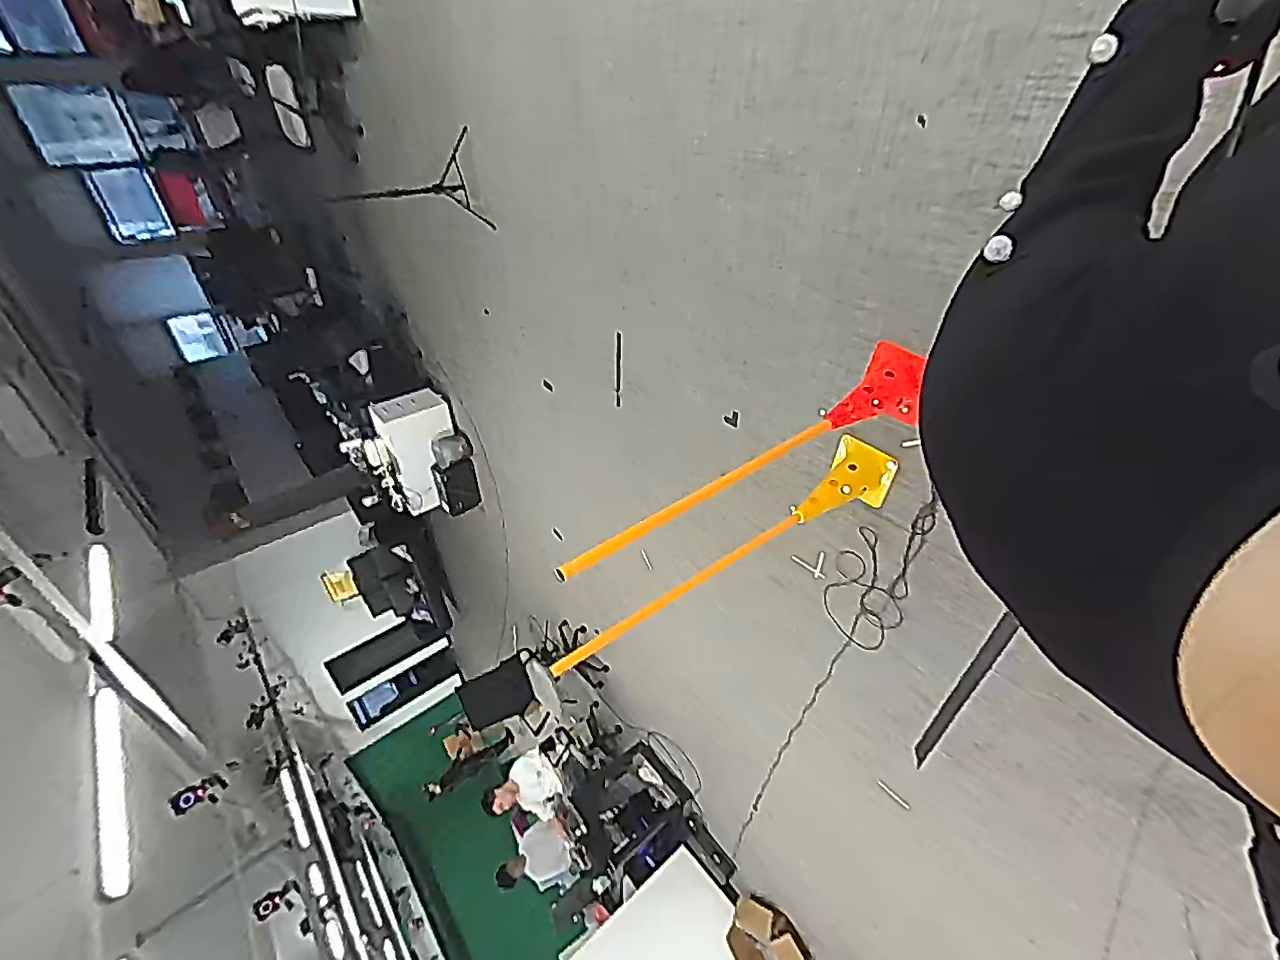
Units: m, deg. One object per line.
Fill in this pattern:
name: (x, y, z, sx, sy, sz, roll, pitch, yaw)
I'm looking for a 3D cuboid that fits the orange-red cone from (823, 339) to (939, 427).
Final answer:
orange-red cone: (0.609, -0.221, 1.466, 0.198, 0.360, 0.199, 40, 141, 31)
